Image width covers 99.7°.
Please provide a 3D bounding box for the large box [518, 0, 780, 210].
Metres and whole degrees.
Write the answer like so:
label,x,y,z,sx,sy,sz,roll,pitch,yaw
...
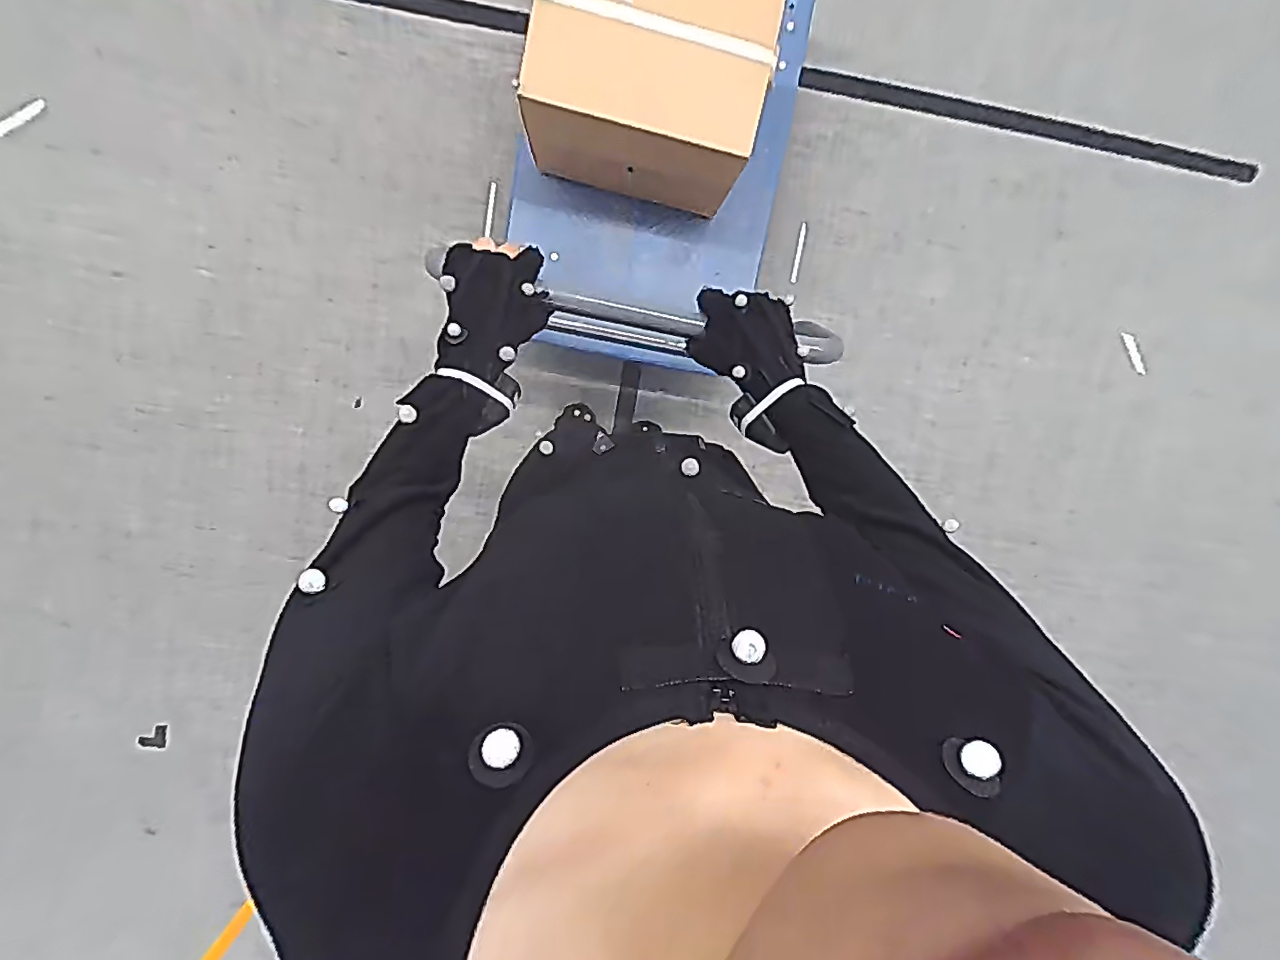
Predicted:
label,x,y,z,sx,sy,sz,roll,pitch,yaw
large box,0.013,-0.764,1.039,0.408,0.320,0.320,12,97,-5
